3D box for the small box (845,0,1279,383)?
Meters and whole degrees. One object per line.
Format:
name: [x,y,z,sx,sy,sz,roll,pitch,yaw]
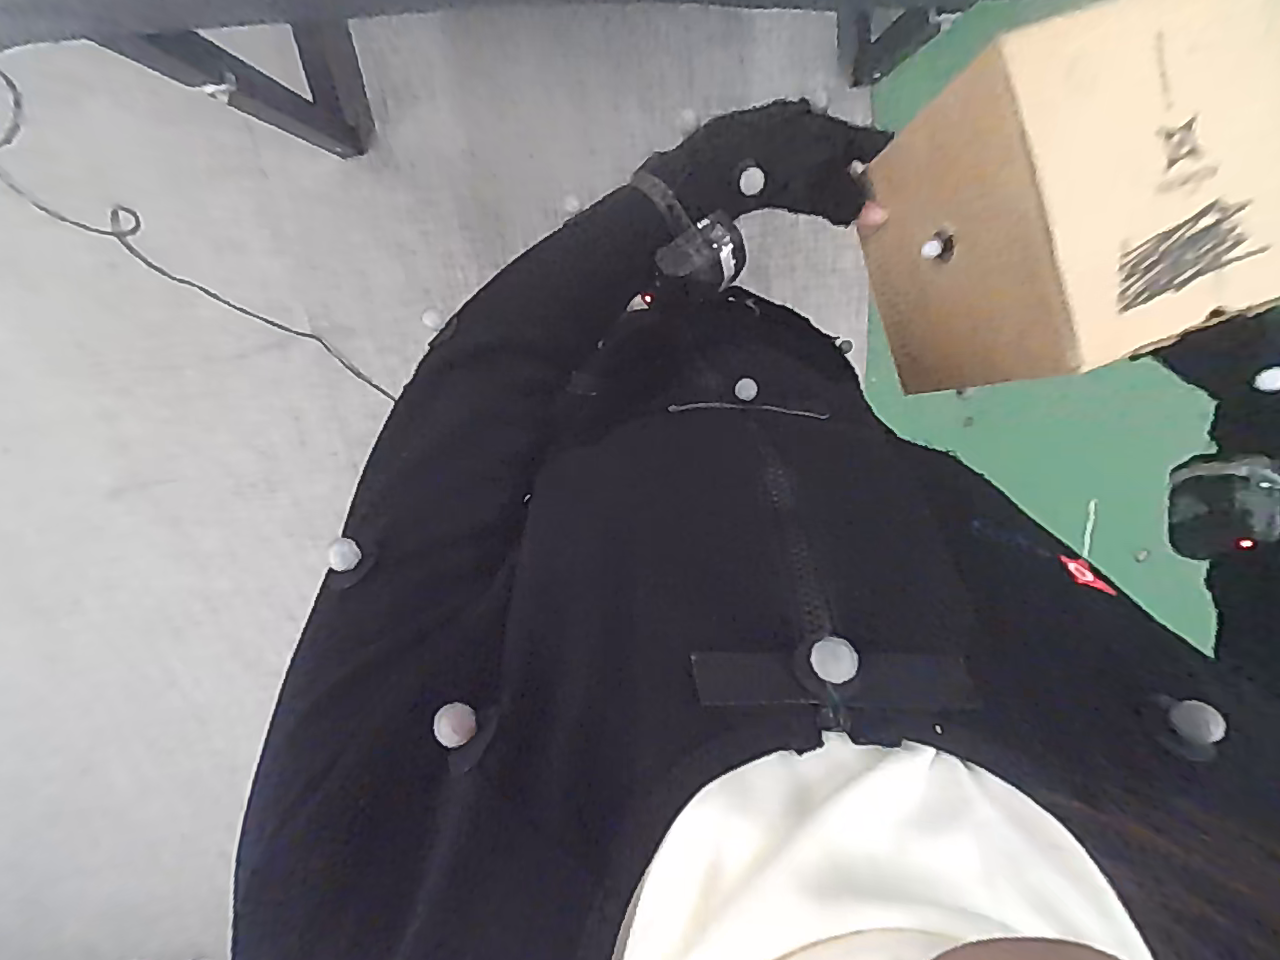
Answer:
small box: [0.271,-0.172,0.371,0.168,0.176,0.179,-19,95,-4]
